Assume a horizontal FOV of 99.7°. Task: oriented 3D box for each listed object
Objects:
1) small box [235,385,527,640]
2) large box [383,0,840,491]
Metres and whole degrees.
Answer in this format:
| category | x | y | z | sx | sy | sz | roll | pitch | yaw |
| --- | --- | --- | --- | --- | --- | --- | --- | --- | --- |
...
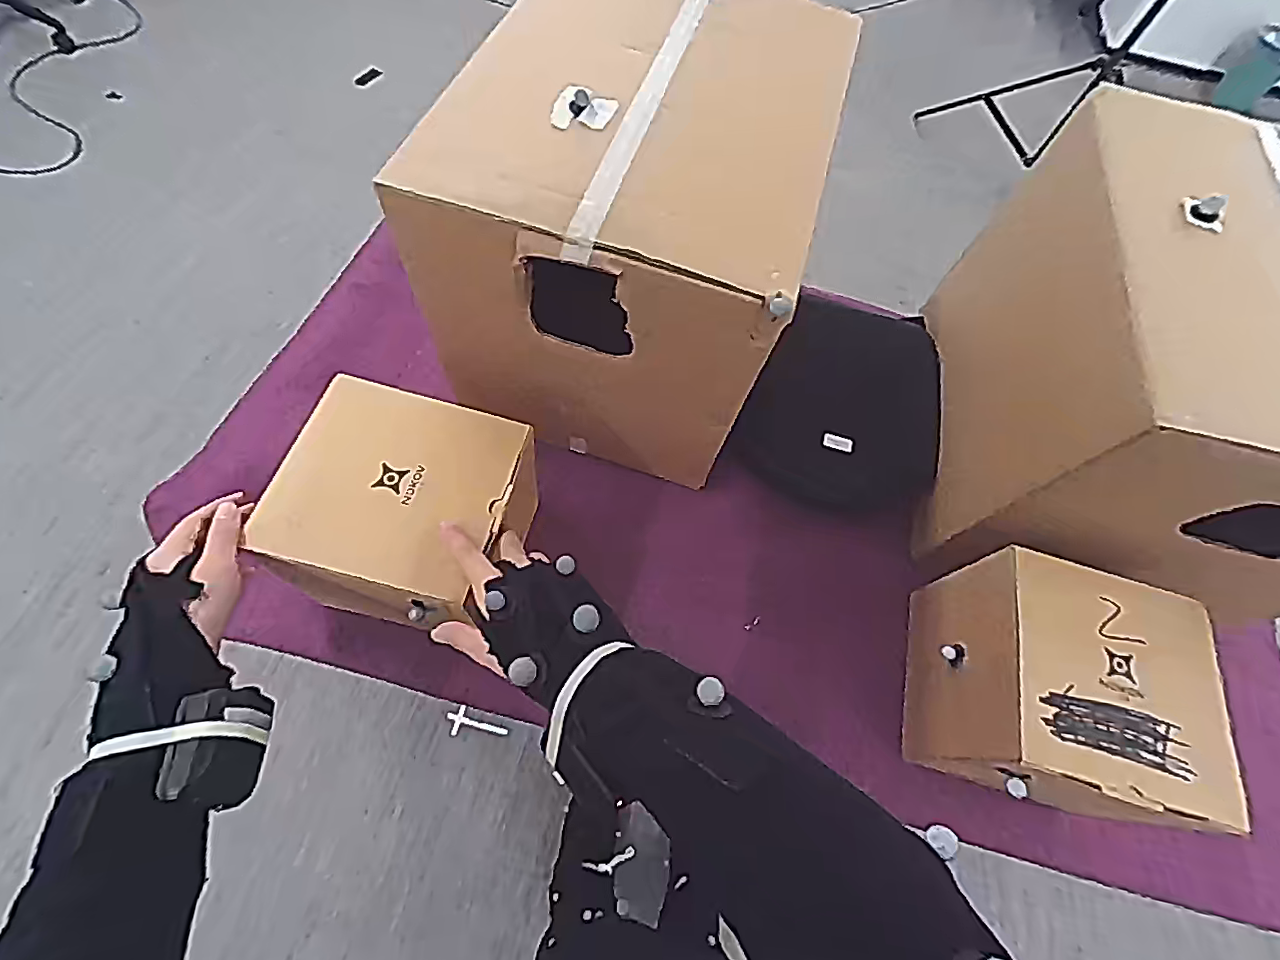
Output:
| category | x | y | z | sx | sy | sz | roll | pitch | yaw |
| --- | --- | --- | --- | --- | --- | --- | --- | --- | --- |
| small box | -0.215 | 0.042 | 0.511 | 0.179 | 0.176 | 0.168 | 15 | 62 | -3 |
| large box | -0.008 | -0.257 | 0.608 | 0.320 | 0.320 | 0.408 | 17 | 66 | 3 |
